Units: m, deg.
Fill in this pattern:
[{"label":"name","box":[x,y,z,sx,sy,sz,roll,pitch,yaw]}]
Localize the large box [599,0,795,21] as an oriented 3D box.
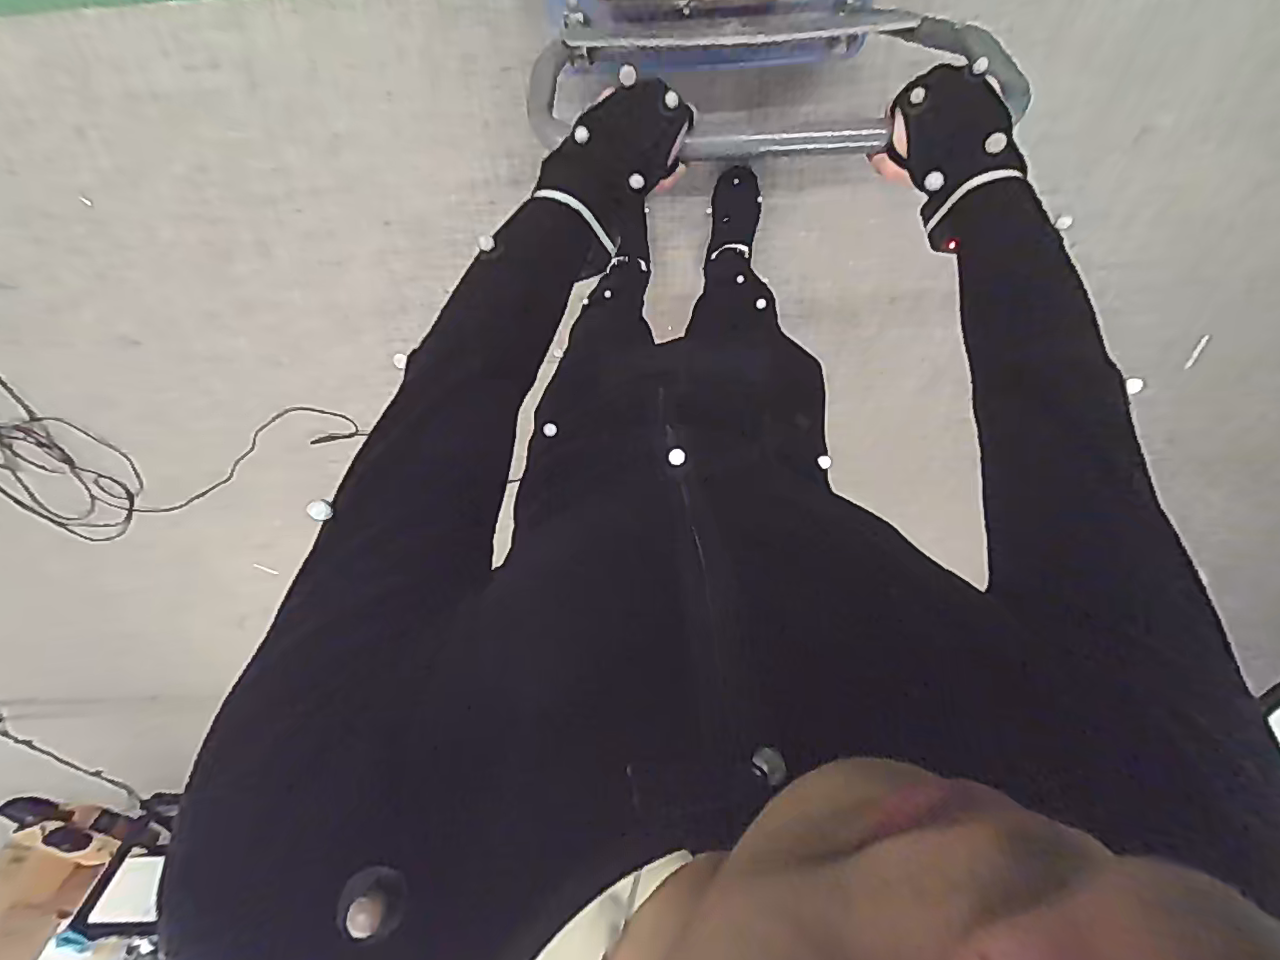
[{"label":"large box","box":[0.087,-0.901,0.734,0.320,0.320,0.408,-2,129,1]}]
